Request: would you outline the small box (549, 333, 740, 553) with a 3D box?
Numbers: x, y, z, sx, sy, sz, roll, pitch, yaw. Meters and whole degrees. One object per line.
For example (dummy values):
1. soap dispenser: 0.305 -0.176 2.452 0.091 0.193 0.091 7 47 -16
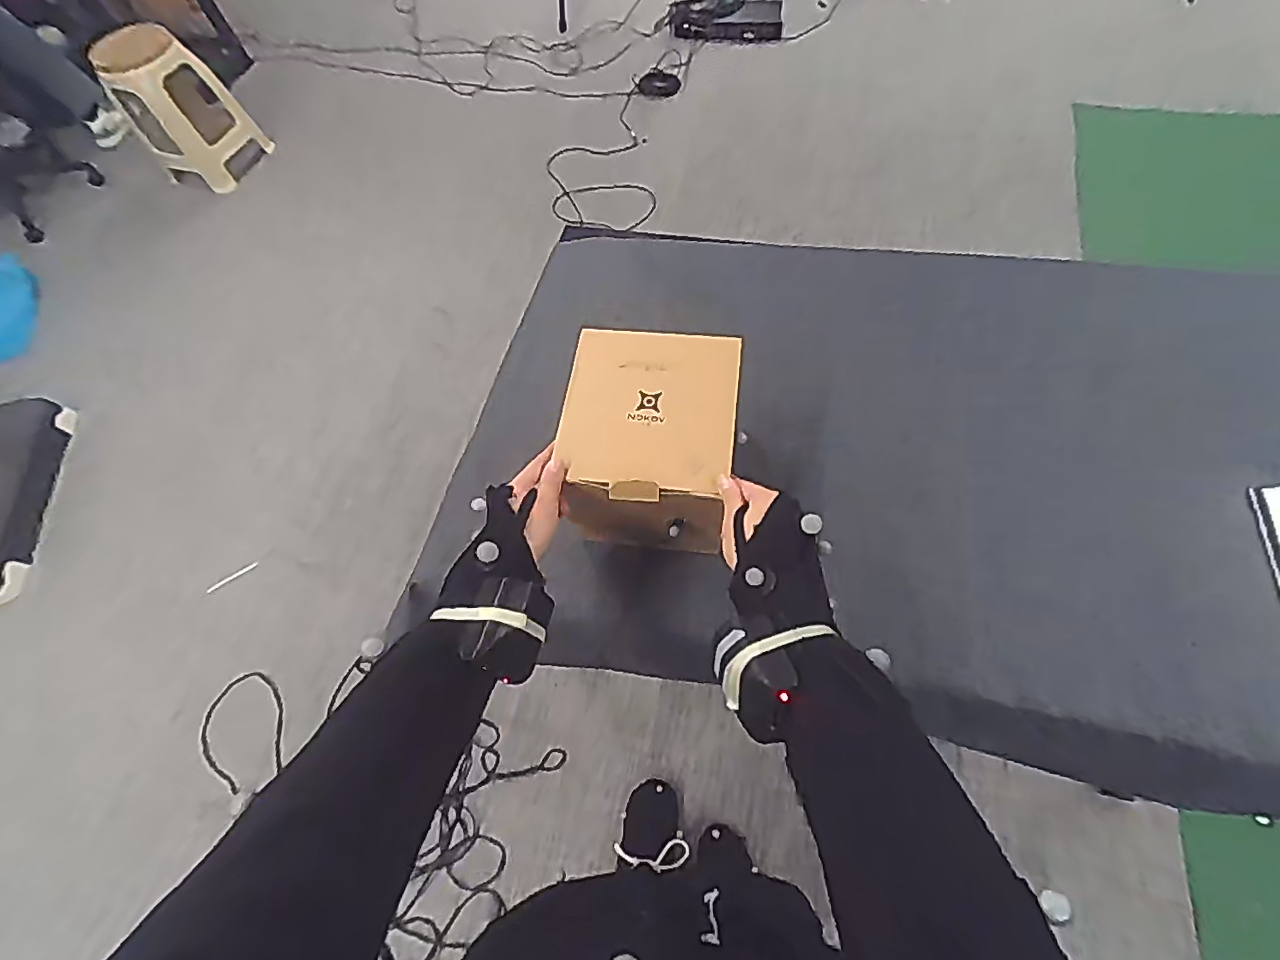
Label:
1. small box: 0.014 -0.032 0.584 0.168 0.176 0.179 5 64 7
